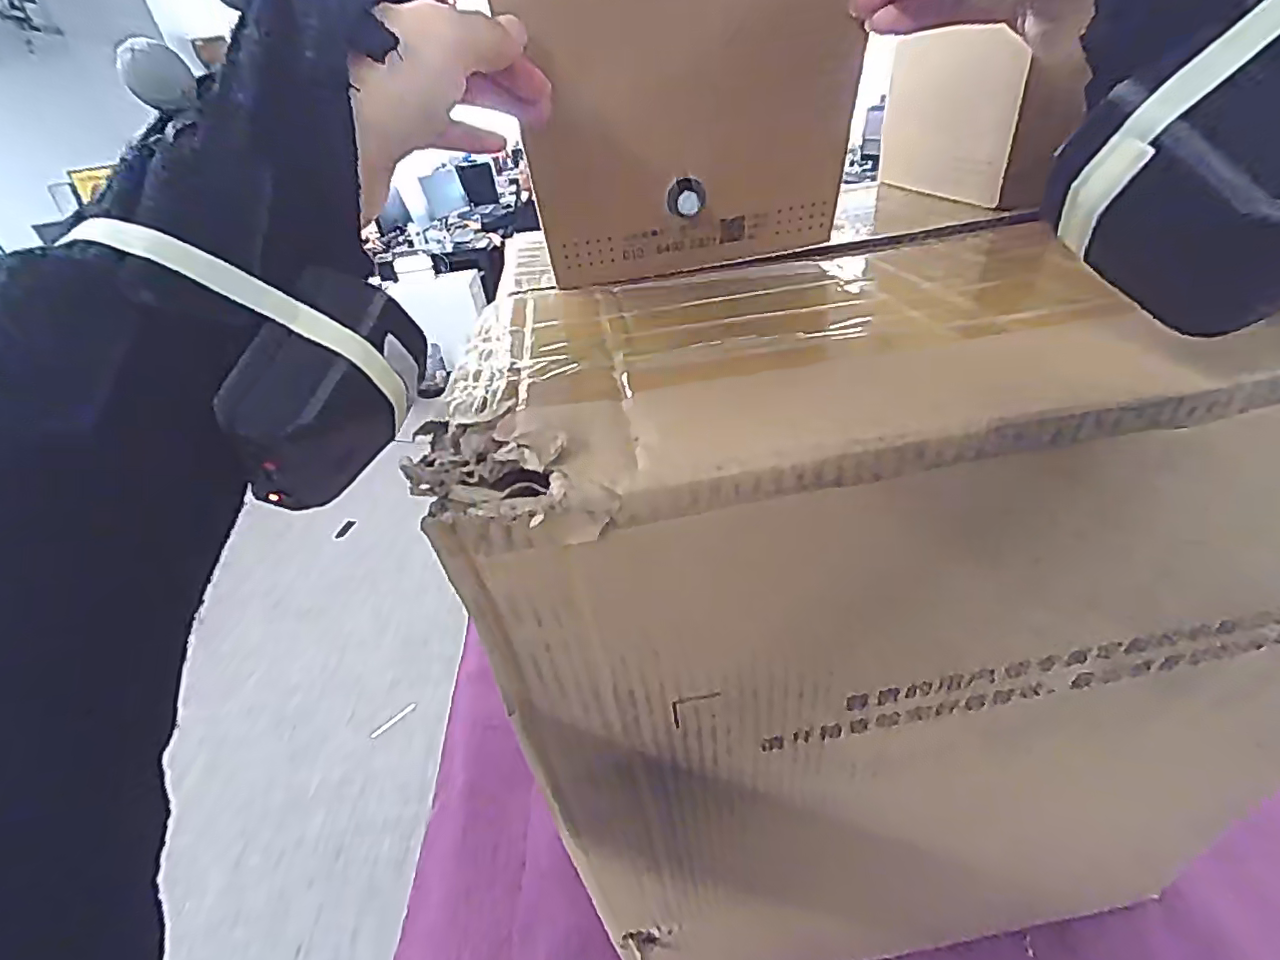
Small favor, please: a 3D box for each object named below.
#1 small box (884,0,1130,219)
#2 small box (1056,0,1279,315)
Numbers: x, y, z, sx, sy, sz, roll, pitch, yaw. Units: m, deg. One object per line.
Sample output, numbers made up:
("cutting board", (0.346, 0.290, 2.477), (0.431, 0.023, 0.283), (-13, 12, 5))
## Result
("small box", (0.293, -0.292, 0.380), (0.168, 0.176, 0.179), (-9, 35, 1))
("small box", (0.318, -0.172, 0.205), (0.168, 0.176, 0.179), (-9, 34, 1))
